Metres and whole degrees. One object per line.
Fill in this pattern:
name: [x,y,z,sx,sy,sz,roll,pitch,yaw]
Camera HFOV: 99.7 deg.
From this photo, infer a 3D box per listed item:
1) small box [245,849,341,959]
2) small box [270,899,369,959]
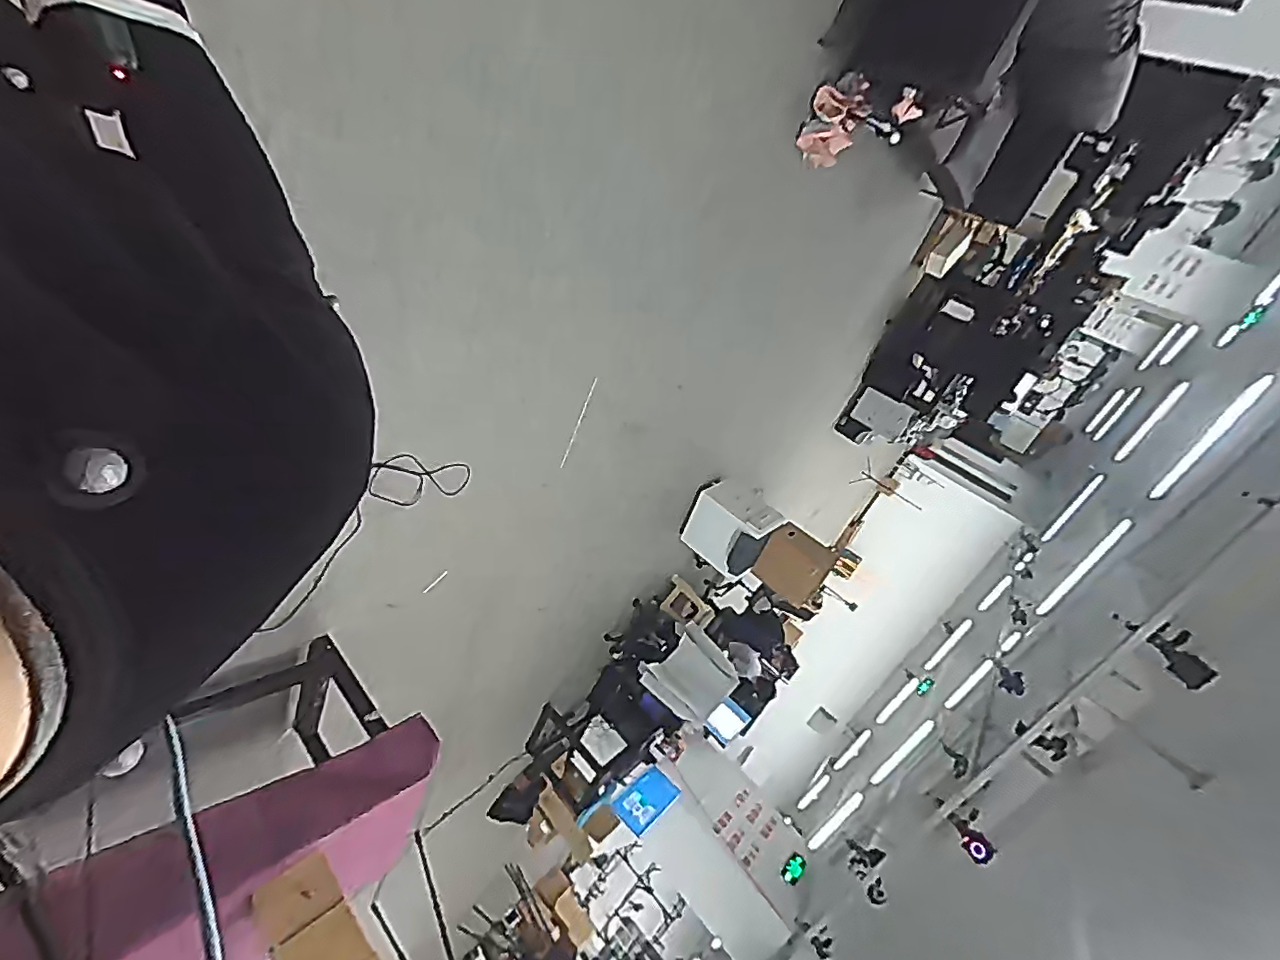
small box: [-0.984,1.203,1.531,0.179,0.176,0.168,-14,136,-51]
small box: [-0.868,1.292,1.459,0.179,0.176,0.168,-13,136,-50]
